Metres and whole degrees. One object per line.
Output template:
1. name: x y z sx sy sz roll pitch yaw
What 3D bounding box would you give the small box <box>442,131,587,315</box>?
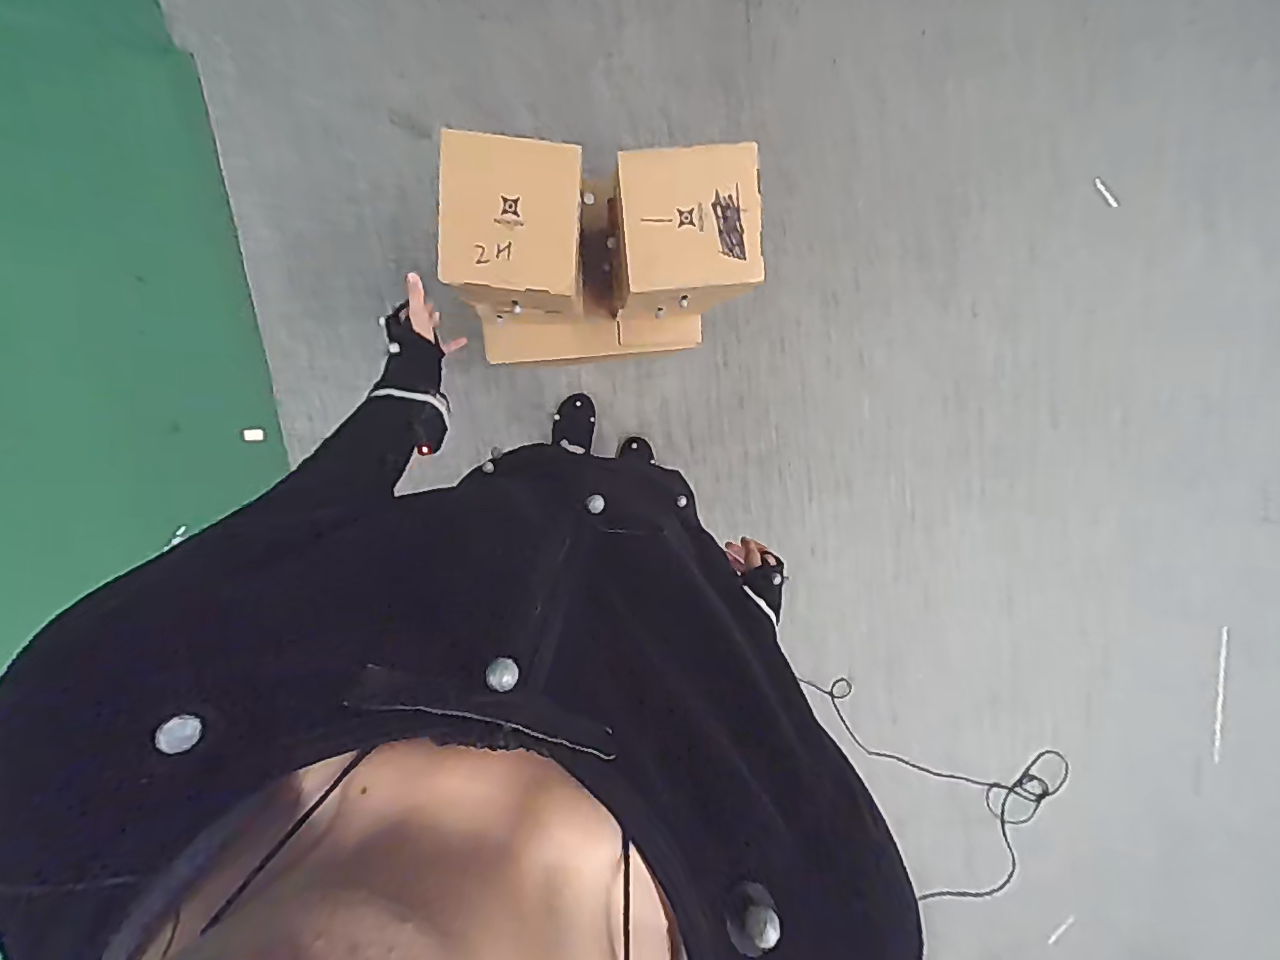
1. small box: -0.161 -0.334 0.736 0.168 0.176 0.179 4 99 -6

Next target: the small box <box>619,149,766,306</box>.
1. small box: 0.065 -0.337 0.749 0.179 0.176 0.168 -4 101 -4
